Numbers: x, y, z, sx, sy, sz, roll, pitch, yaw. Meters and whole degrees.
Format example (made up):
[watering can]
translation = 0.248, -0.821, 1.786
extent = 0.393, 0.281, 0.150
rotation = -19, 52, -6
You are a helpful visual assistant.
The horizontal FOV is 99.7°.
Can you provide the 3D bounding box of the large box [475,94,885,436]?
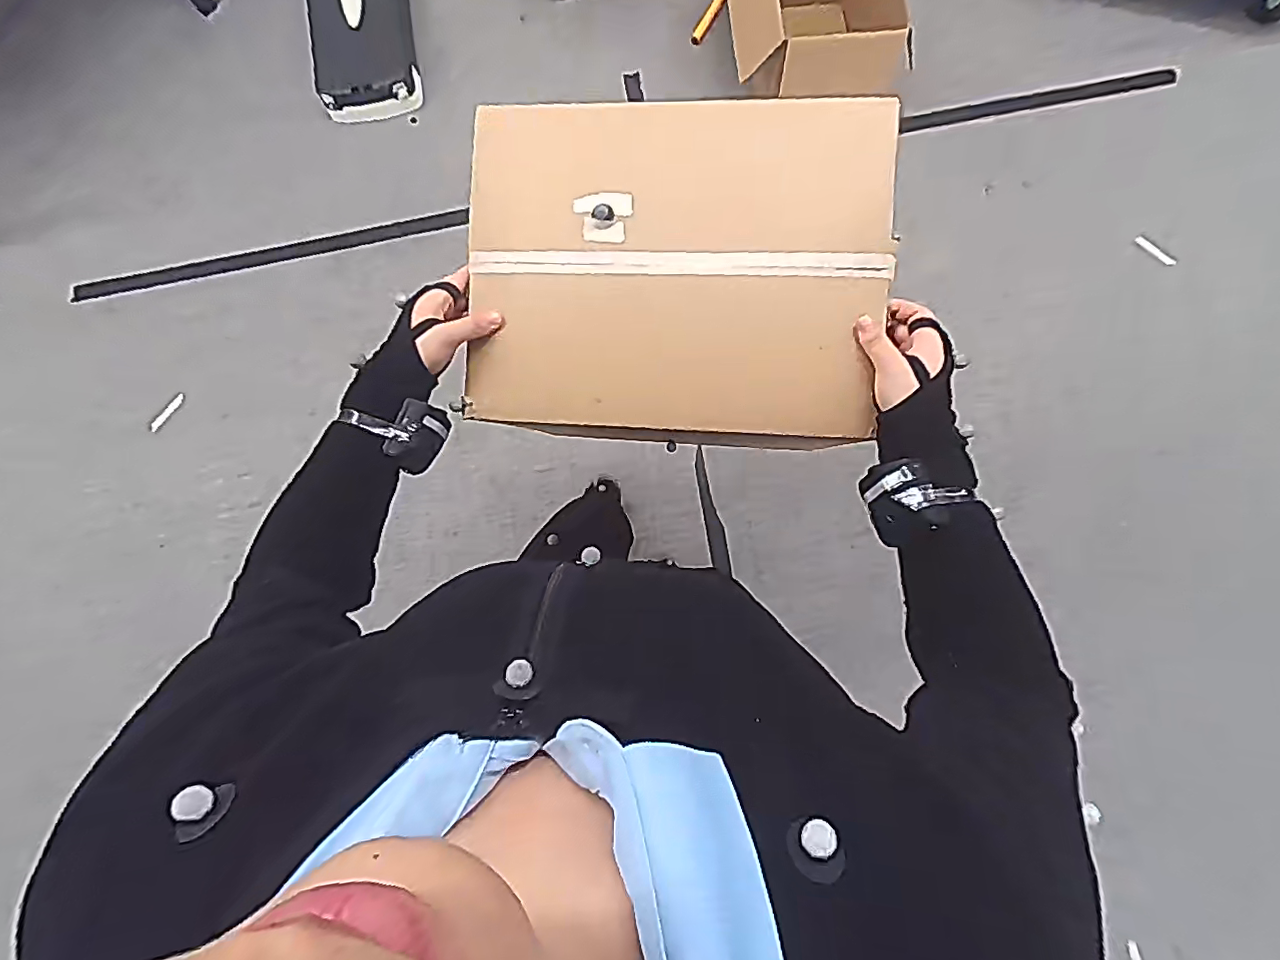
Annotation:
[large box]
translation = 0.051, -0.218, 0.681
extent = 0.408, 0.320, 0.320
rotation = 3, 91, 8
